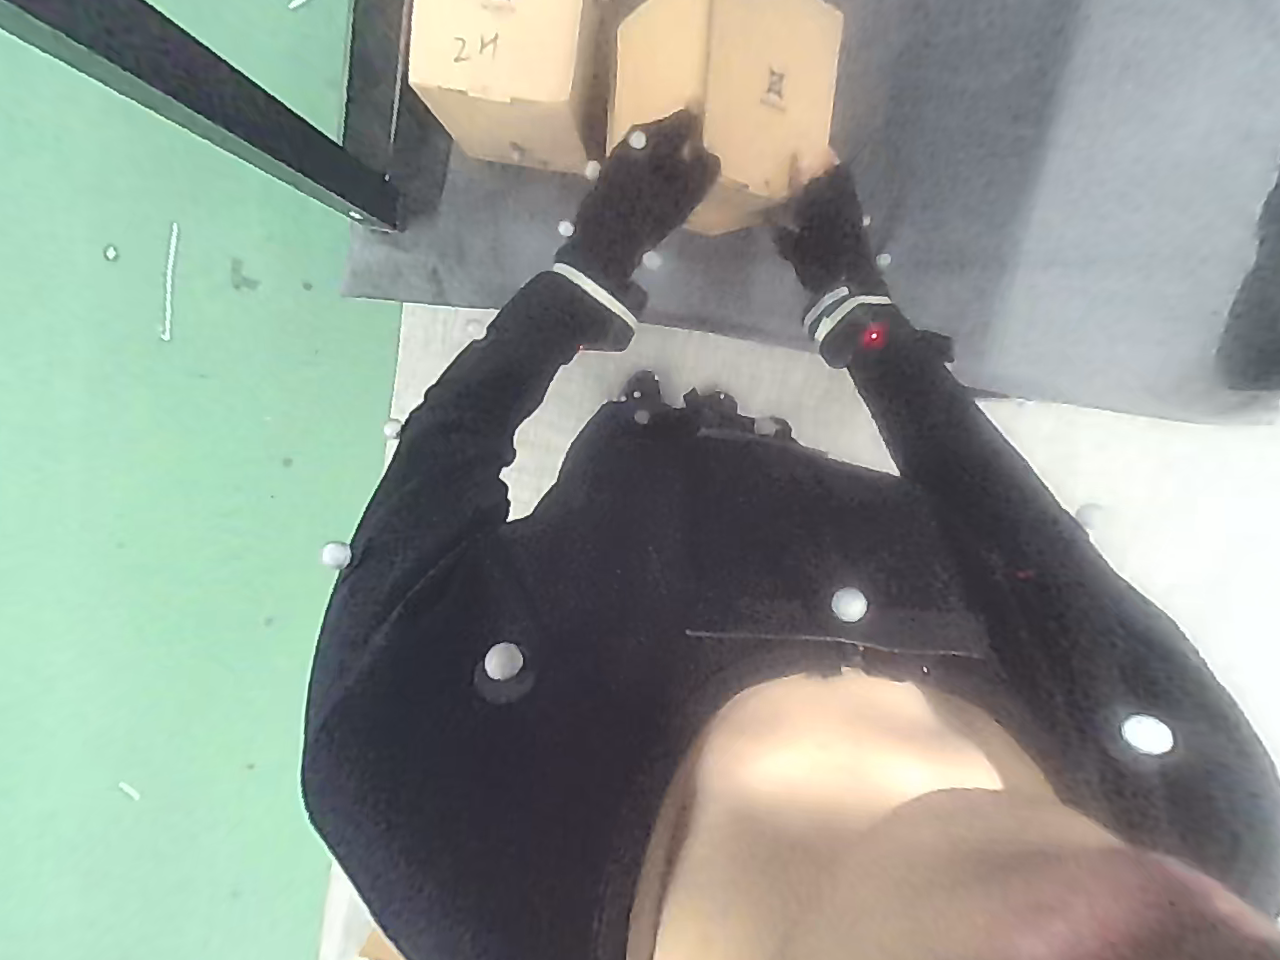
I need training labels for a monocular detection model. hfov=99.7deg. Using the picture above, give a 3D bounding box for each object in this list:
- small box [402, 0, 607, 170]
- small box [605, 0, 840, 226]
[{"bbox_3d":[-0.134,-0.477,0.592,0.168,0.176,0.179,10,99,2],"label":"small box"},{"bbox_3d":[0.075,-0.379,0.555,0.168,0.176,0.179,-6,106,-34],"label":"small box"}]
